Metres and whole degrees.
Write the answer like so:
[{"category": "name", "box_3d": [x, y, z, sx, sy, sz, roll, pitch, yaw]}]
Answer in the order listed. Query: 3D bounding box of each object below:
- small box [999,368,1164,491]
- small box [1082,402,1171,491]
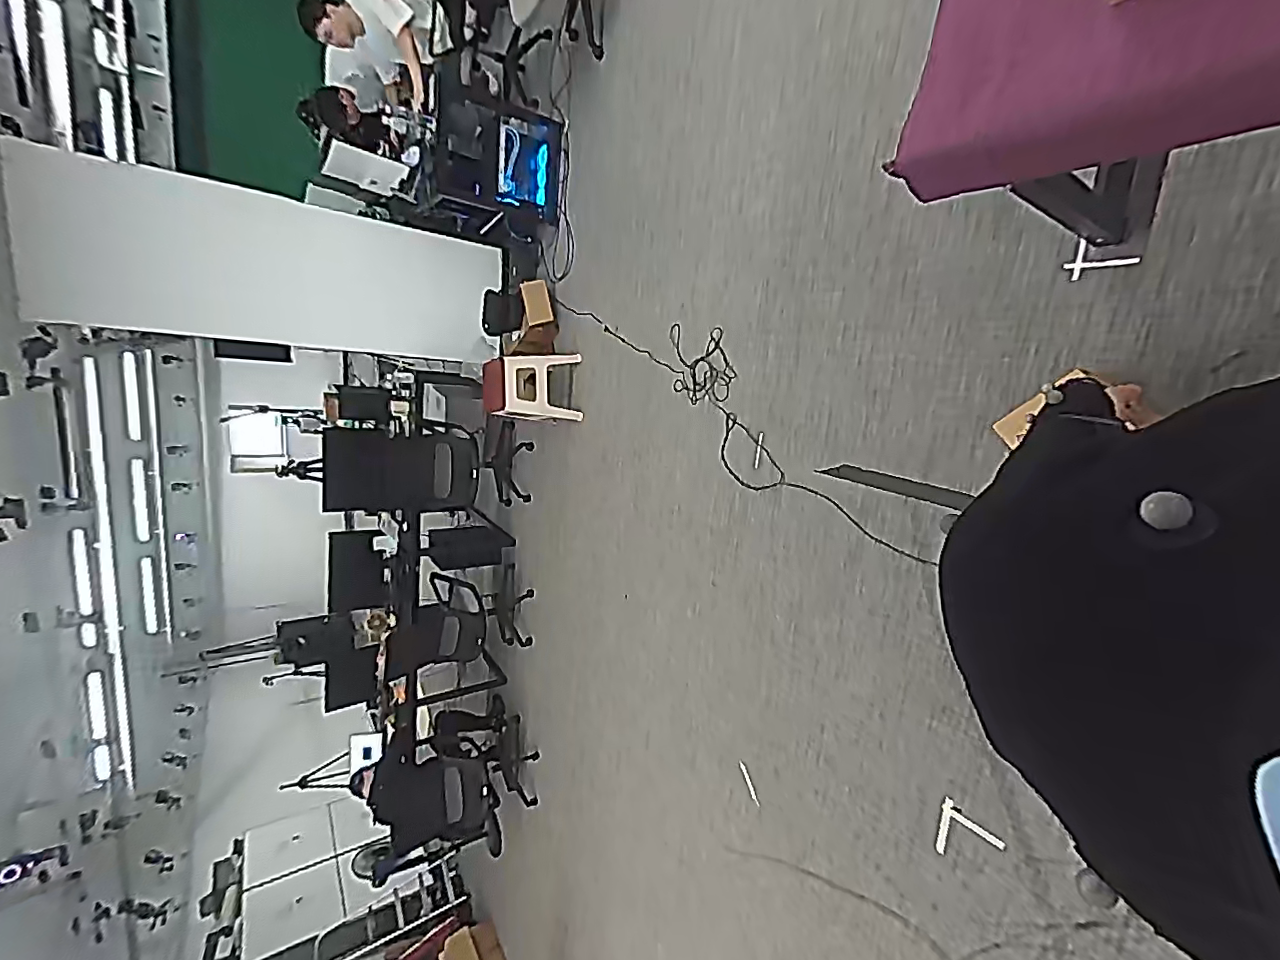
[{"category": "small box", "box_3d": [0.857, -0.094, 1.047, 0.179, 0.176, 0.168, -50, 53, 44]}, {"category": "small box", "box_3d": [0.978, -0.095, 1.162, 0.168, 0.176, 0.179, 49, 130, 41]}]
